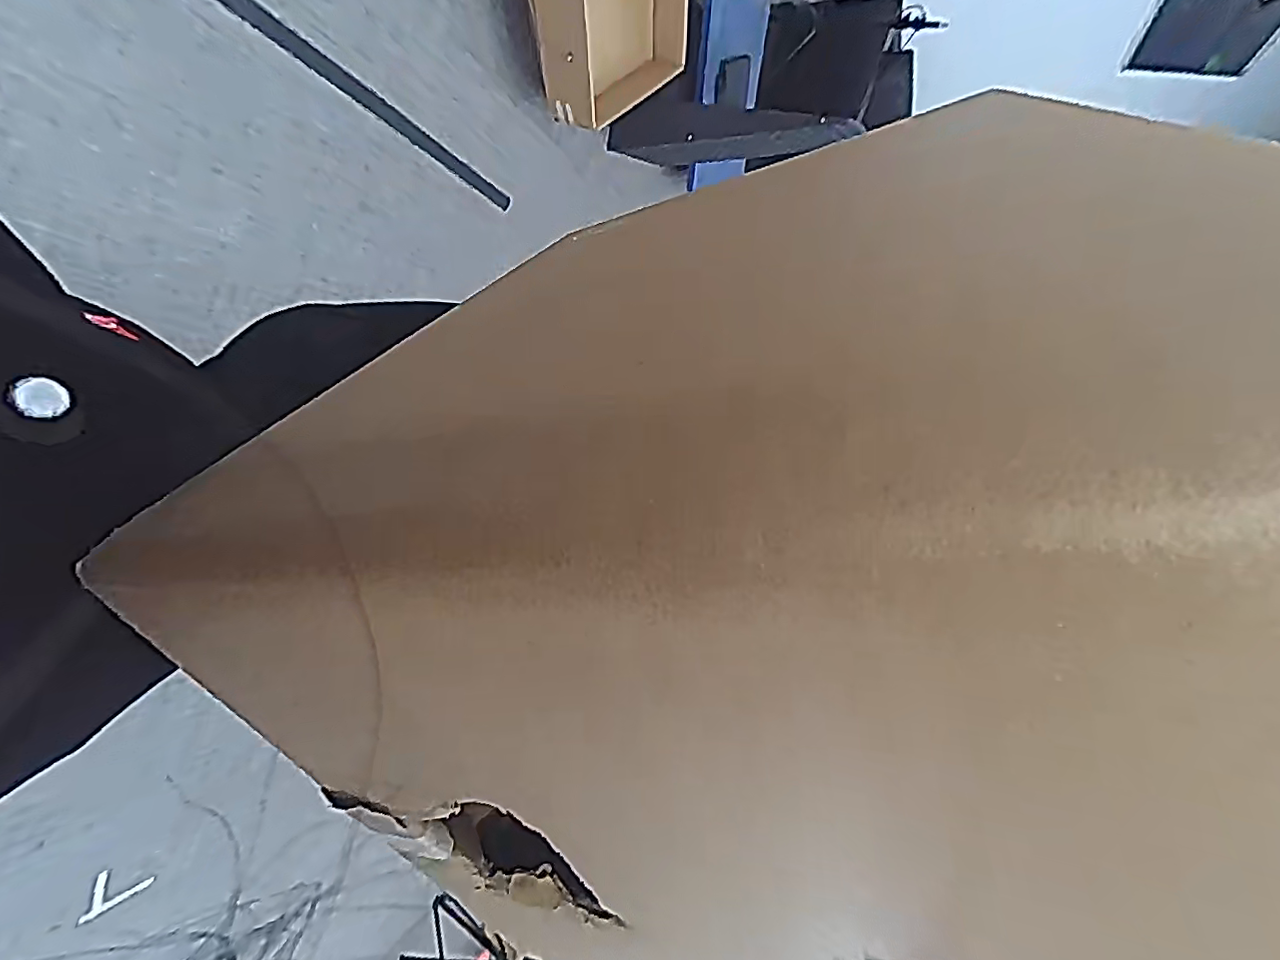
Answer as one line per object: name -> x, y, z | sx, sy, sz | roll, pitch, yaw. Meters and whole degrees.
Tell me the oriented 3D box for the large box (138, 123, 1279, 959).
large box -> 0.074, 0.016, 0.335 | 0.408, 0.320, 0.320 | -64, 142, -49
